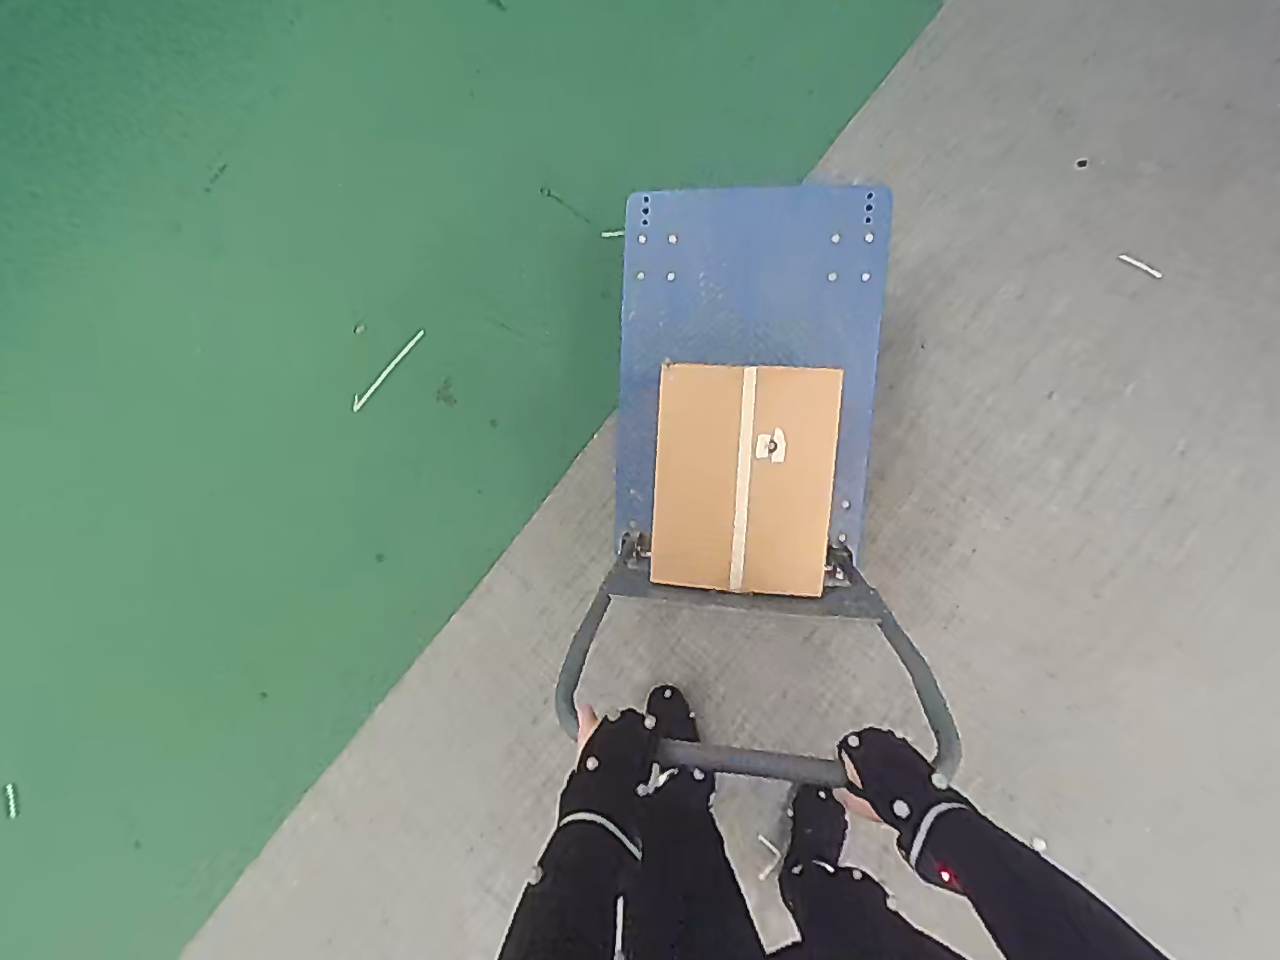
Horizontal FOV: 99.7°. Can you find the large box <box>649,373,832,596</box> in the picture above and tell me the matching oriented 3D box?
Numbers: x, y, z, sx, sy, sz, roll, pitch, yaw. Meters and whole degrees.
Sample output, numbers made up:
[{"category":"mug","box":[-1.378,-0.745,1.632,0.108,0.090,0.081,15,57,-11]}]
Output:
[{"category":"large box","box":[0.201,-0.005,1.131,0.320,0.320,0.408,4,97,8]}]
